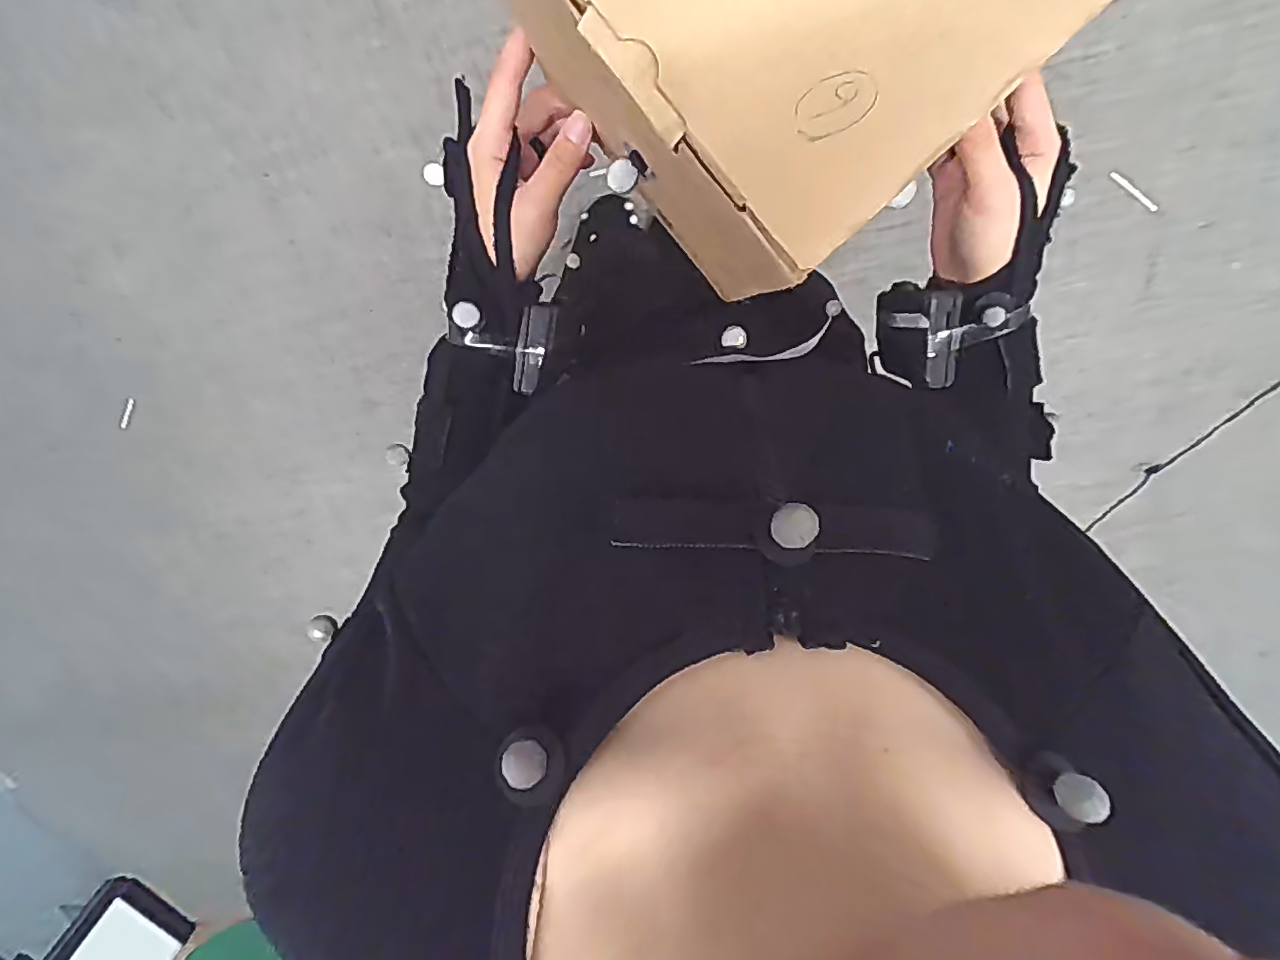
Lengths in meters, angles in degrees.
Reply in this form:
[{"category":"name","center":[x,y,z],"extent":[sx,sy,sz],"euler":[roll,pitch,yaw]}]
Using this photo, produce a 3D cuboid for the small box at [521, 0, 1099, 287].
[{"category":"small box","center":[0.062,-0.202,0.227],"extent":[0.179,0.176,0.168],"euler":[-41,101,13]}]
